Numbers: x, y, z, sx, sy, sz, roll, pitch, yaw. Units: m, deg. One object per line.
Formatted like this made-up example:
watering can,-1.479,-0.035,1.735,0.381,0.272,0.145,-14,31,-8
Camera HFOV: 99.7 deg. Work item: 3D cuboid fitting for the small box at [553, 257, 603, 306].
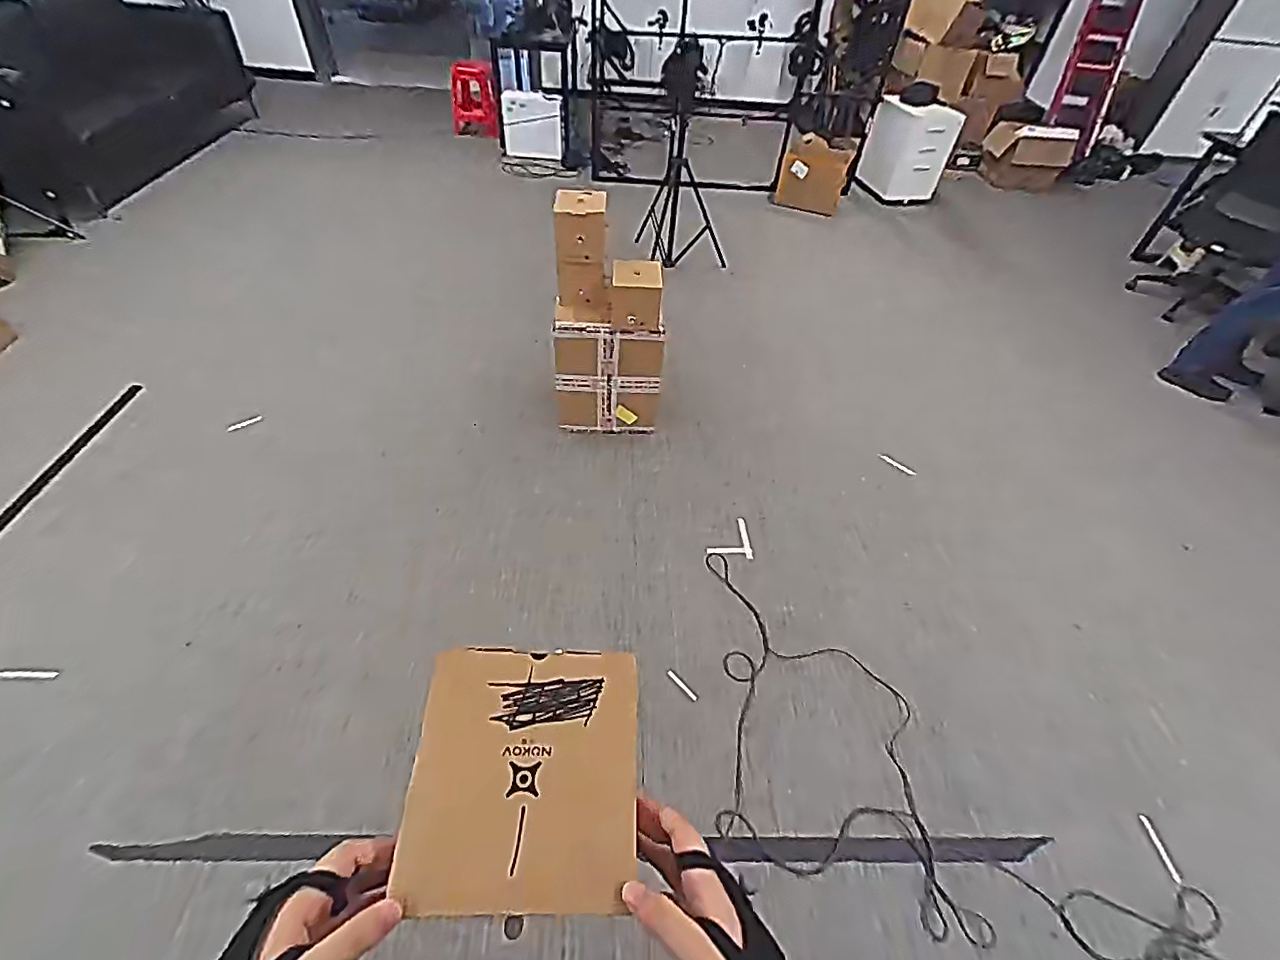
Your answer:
small box,-0.221,-0.749,1.951,0.168,0.176,0.179,-1,49,-3

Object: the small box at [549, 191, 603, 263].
small box,-0.209,-0.850,1.821,0.168,0.176,0.179,0,50,-3

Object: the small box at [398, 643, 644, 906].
small box,-0.087,0.259,0.472,0.168,0.176,0.179,2,53,-5
